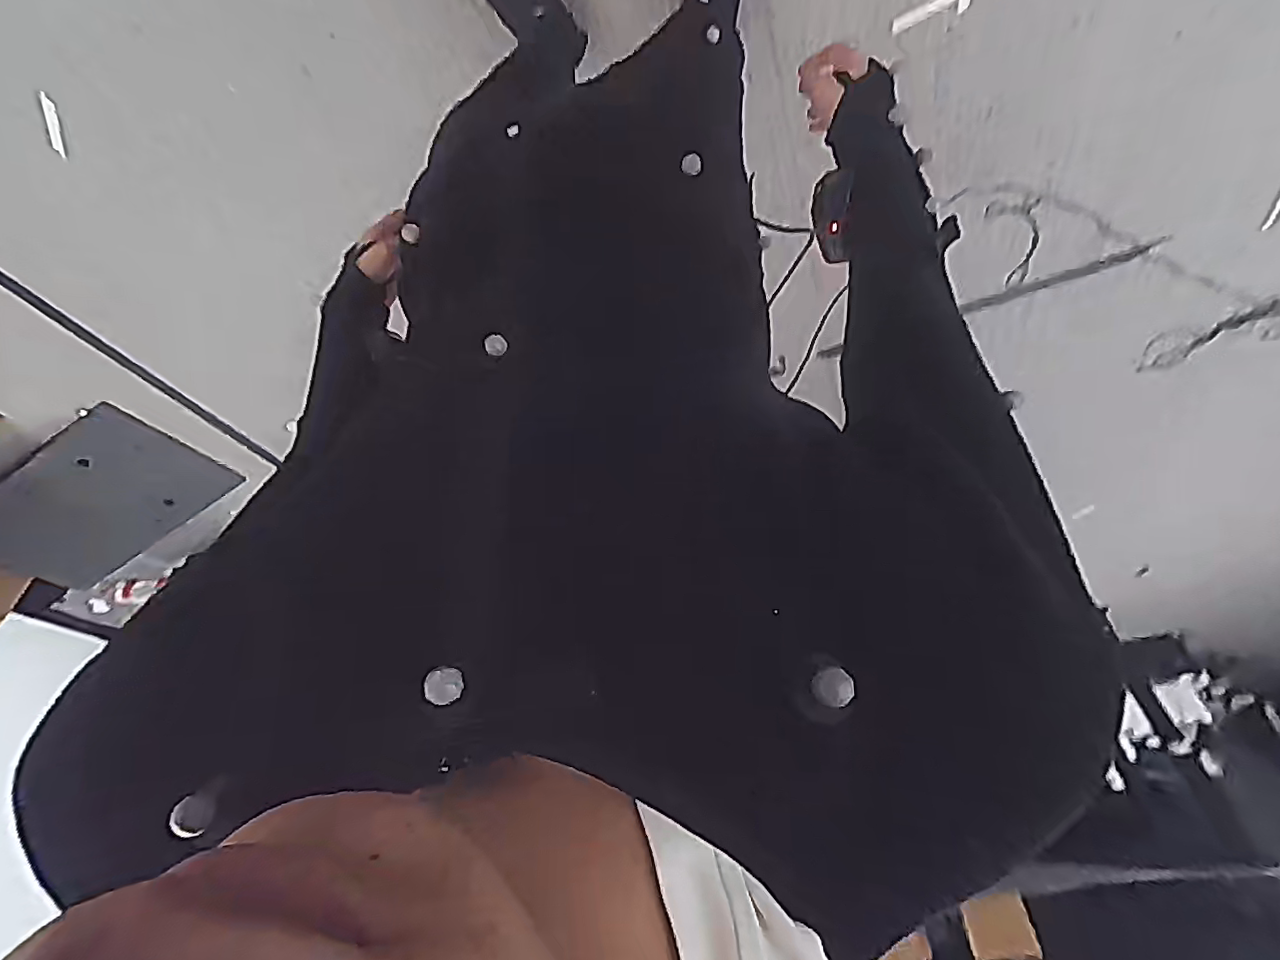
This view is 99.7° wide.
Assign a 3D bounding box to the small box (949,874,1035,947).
[{"bbox_3d":[1.115,1.375,1.730,0.179,0.176,0.168,-18,140,14],"label":"small box"}]
